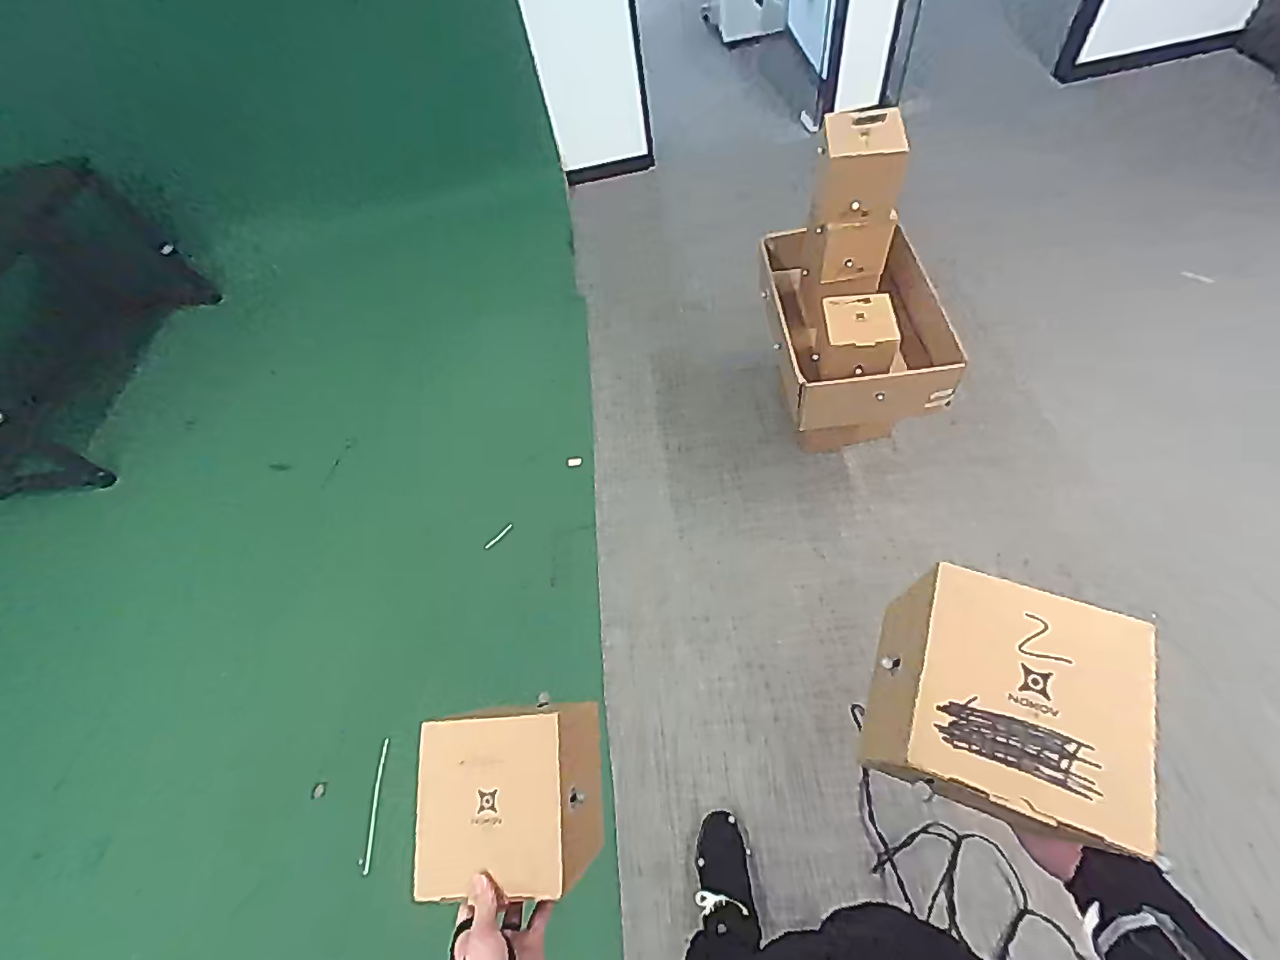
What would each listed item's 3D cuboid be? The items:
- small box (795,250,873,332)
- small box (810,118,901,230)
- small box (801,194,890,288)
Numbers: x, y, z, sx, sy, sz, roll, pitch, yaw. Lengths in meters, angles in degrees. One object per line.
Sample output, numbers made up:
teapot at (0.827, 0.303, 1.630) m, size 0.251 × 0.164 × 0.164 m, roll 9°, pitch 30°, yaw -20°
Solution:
small box at (0.554, -0.560, 1.569) m, size 0.168 × 0.176 × 0.179 m, roll -7°, pitch 59°, yaw 5°
small box at (0.505, -0.727, 1.293) m, size 0.168 × 0.176 × 0.179 m, roll 1°, pitch 61°, yaw 9°
small box at (0.532, -0.640, 1.430) m, size 0.168 × 0.176 × 0.179 m, roll -7°, pitch 59°, yaw 4°
